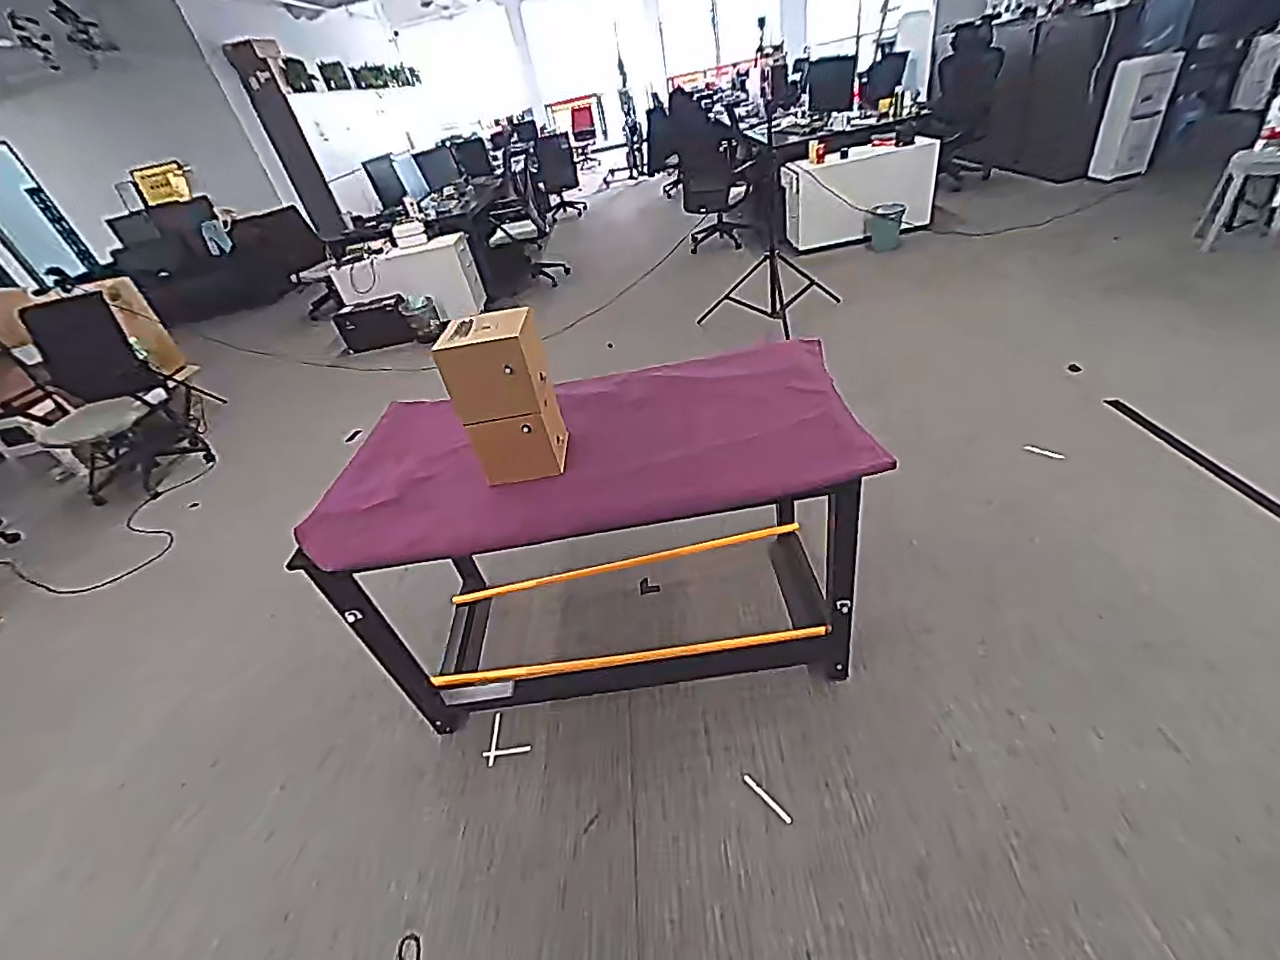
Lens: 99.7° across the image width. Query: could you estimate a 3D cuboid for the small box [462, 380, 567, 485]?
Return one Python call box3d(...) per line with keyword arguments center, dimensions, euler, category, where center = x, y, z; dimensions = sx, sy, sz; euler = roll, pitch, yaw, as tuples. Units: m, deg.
box3d(center=(-0.278, -0.105, 1.236), dimensions=(0.179, 0.176, 0.168), euler=(-9, 36, 4), category="small box")
